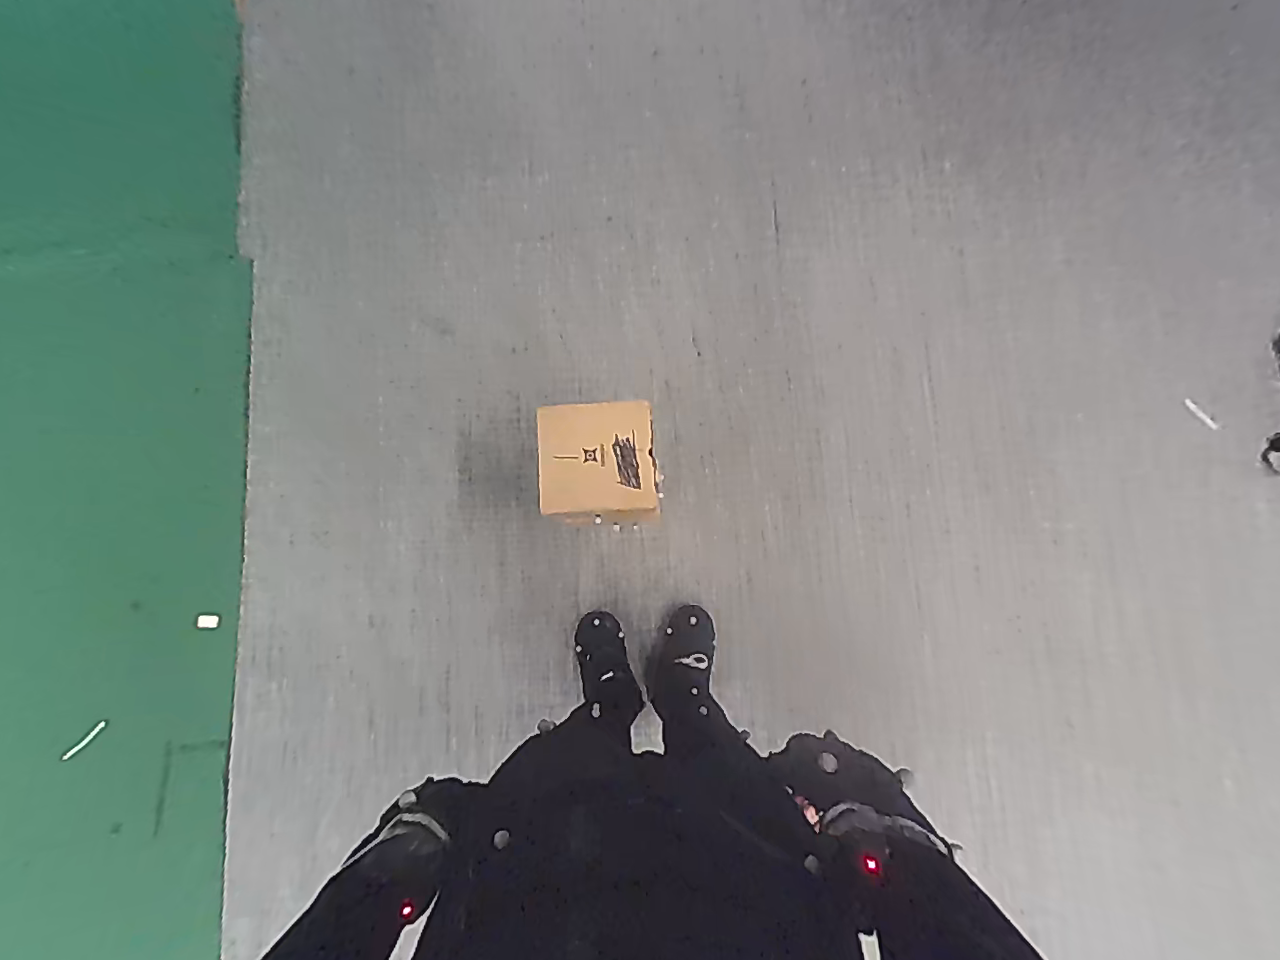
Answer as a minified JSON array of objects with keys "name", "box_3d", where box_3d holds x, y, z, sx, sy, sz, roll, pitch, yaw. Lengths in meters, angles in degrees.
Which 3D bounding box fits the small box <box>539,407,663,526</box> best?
[{"name":"small box","box_3d":[-0.061,-0.015,0.891,0.179,0.176,0.168,-6,83,0]}]

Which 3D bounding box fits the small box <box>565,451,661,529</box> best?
[{"name":"small box","box_3d":[-0.054,0.008,1.054,0.179,0.176,0.168,-4,82,1]}]
